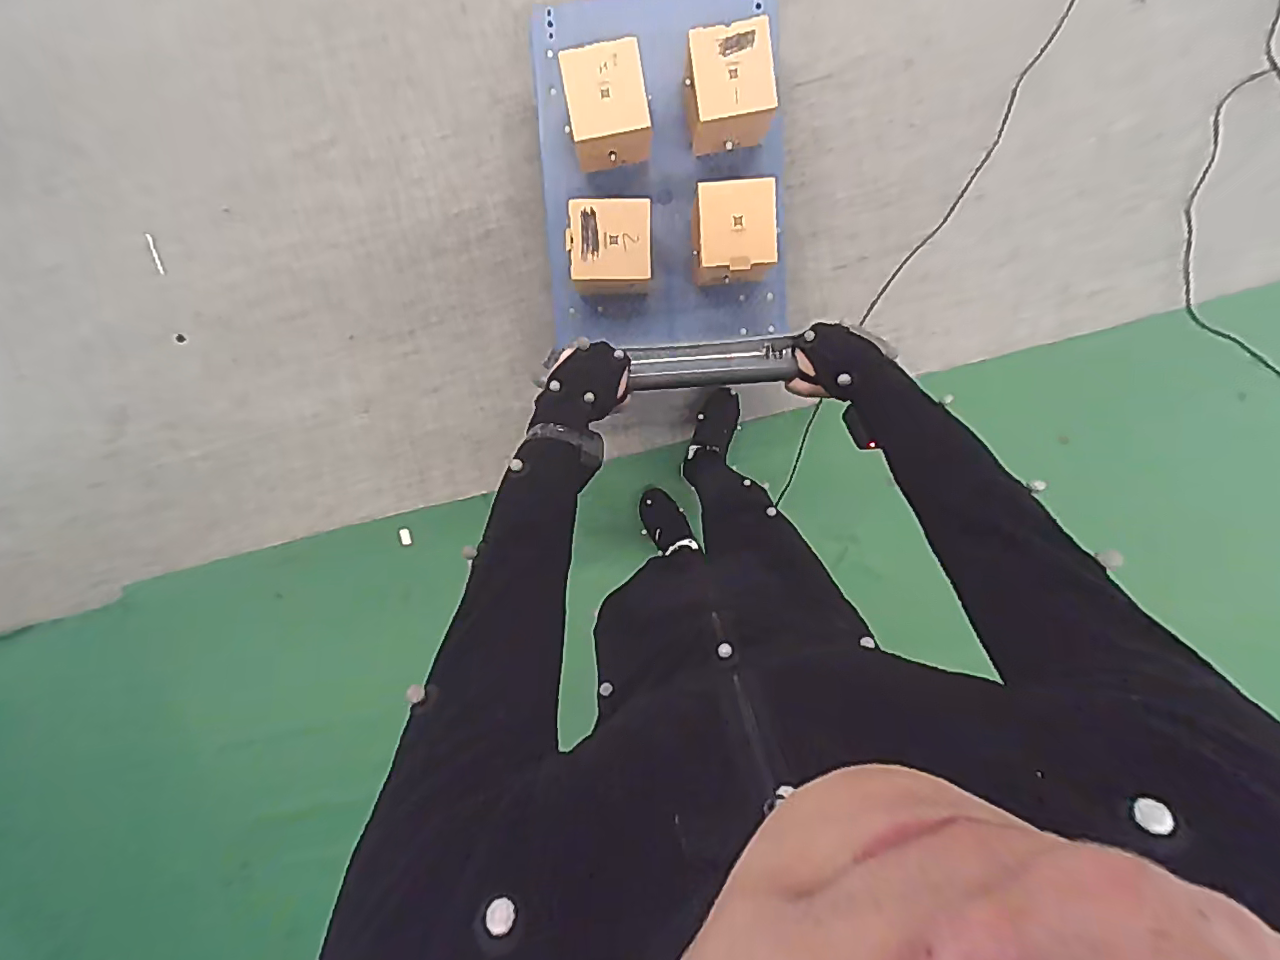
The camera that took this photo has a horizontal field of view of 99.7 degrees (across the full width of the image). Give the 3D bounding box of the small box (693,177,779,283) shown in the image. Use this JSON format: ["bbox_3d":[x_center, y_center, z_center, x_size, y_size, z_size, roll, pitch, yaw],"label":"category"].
[{"bbox_3d":[0.212,-0.560,1.229,0.168,0.176,0.179,-4,99,1],"label":"small box"}]

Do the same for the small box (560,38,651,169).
[{"bbox_3d":[-0.070,-0.813,1.191,0.168,0.176,0.179,-10,99,1],"label":"small box"}]

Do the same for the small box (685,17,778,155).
[{"bbox_3d":[0.194,-0.851,1.184,0.168,0.176,0.179,-9,100,2],"label":"small box"}]
